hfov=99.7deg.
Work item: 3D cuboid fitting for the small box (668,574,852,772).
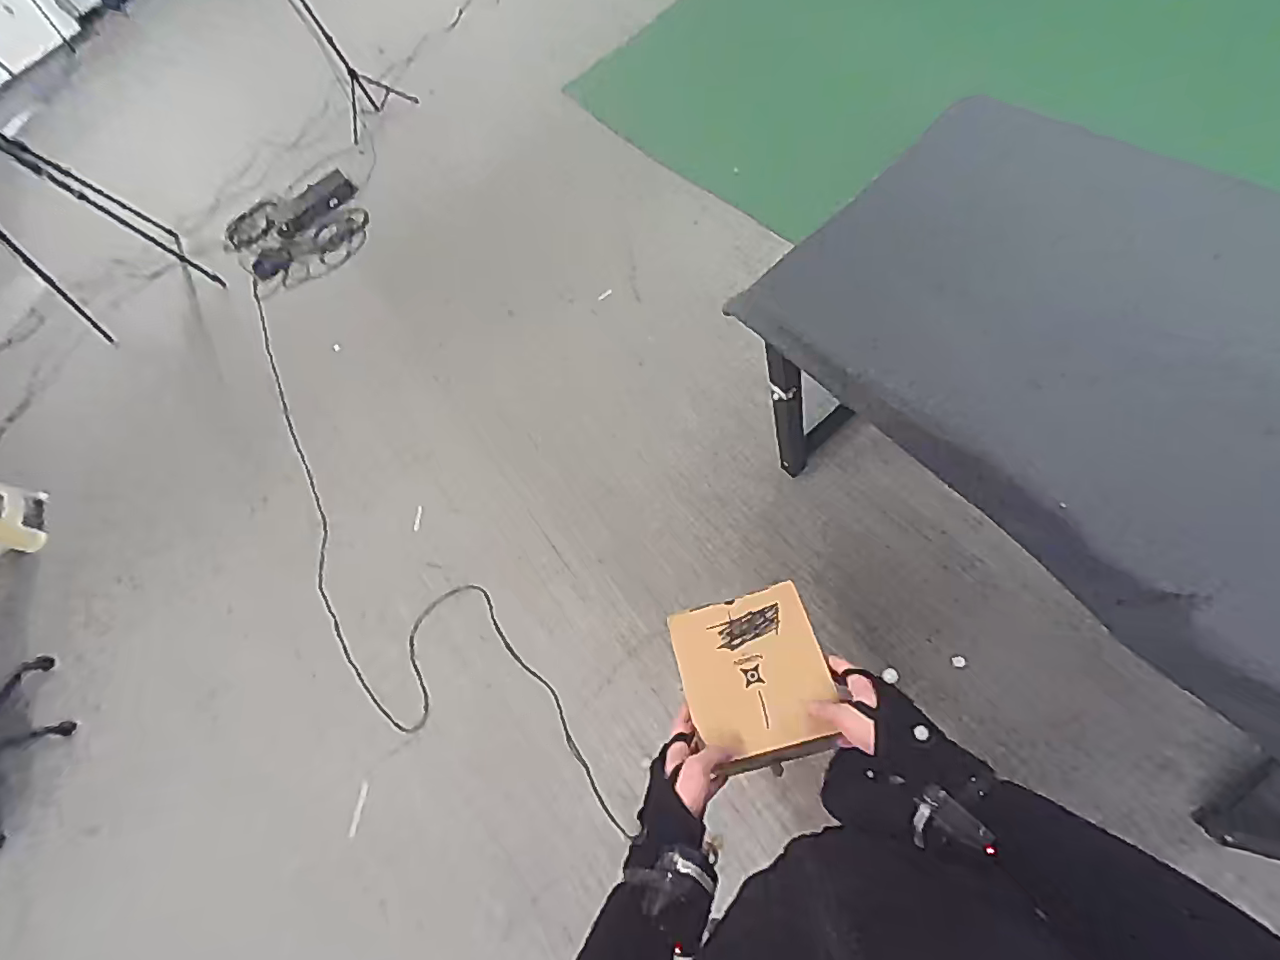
[{"bbox_3d":[0.142,0.246,0.675,0.168,0.176,0.179,-17,56,4],"label":"small box"}]
